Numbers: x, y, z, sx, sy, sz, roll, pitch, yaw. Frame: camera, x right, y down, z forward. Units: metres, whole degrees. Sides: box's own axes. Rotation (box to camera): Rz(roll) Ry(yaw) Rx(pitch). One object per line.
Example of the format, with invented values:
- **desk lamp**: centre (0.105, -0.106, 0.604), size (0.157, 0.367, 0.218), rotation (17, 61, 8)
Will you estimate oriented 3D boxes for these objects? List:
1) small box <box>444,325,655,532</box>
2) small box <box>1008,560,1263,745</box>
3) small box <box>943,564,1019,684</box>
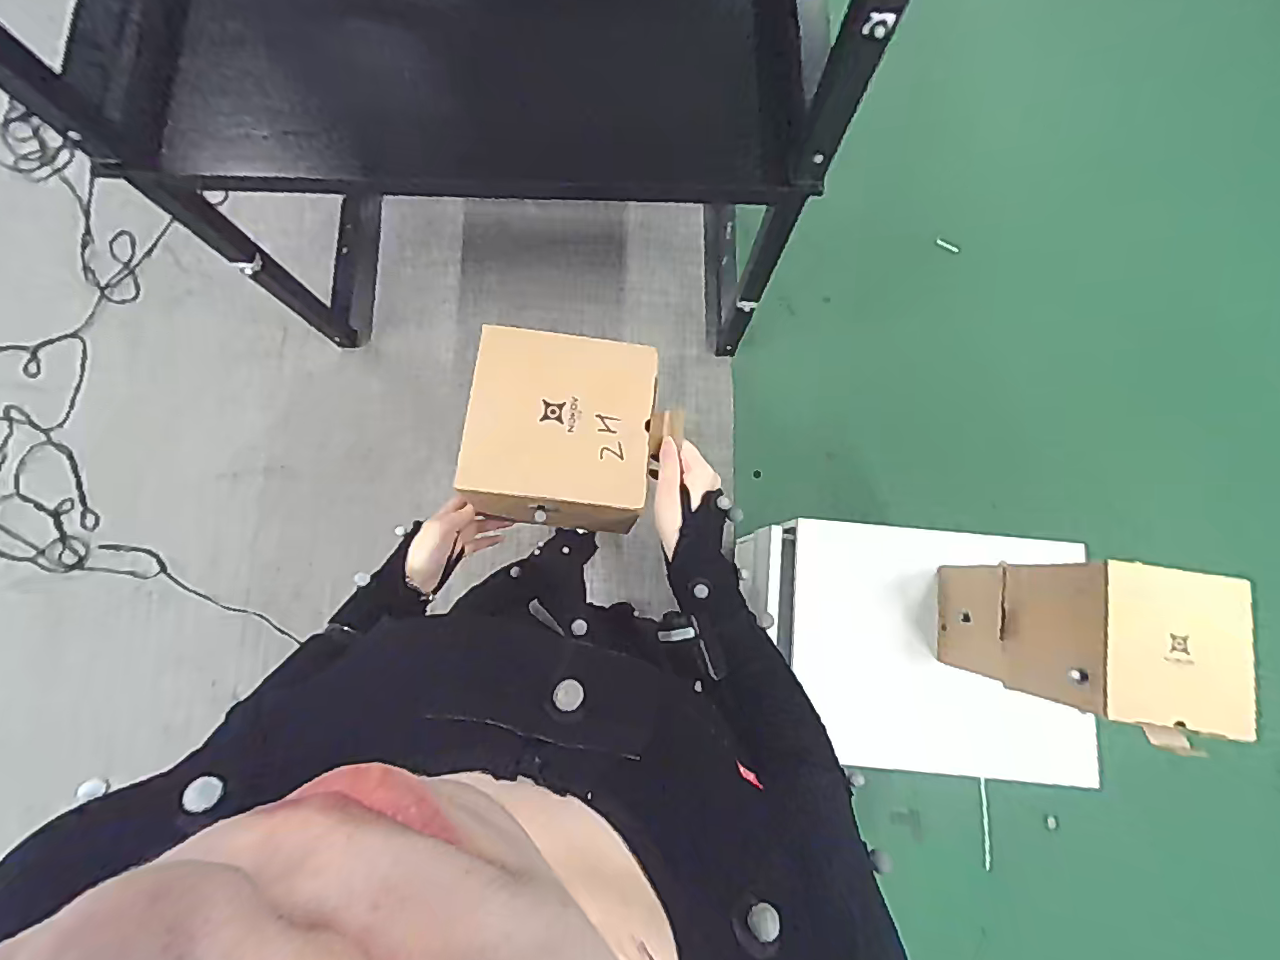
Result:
- **small box**: centre (-0.087, -0.041, 0.574), size (0.179, 0.176, 0.168), rotation (6, 77, -5)
- **small box**: centre (0.591, 0.198, 0.667), size (0.168, 0.176, 0.179), rotation (9, 81, 0)
- **small box**: centre (0.592, 0.222, 0.829), size (0.179, 0.176, 0.168), rotation (6, 81, 1)
